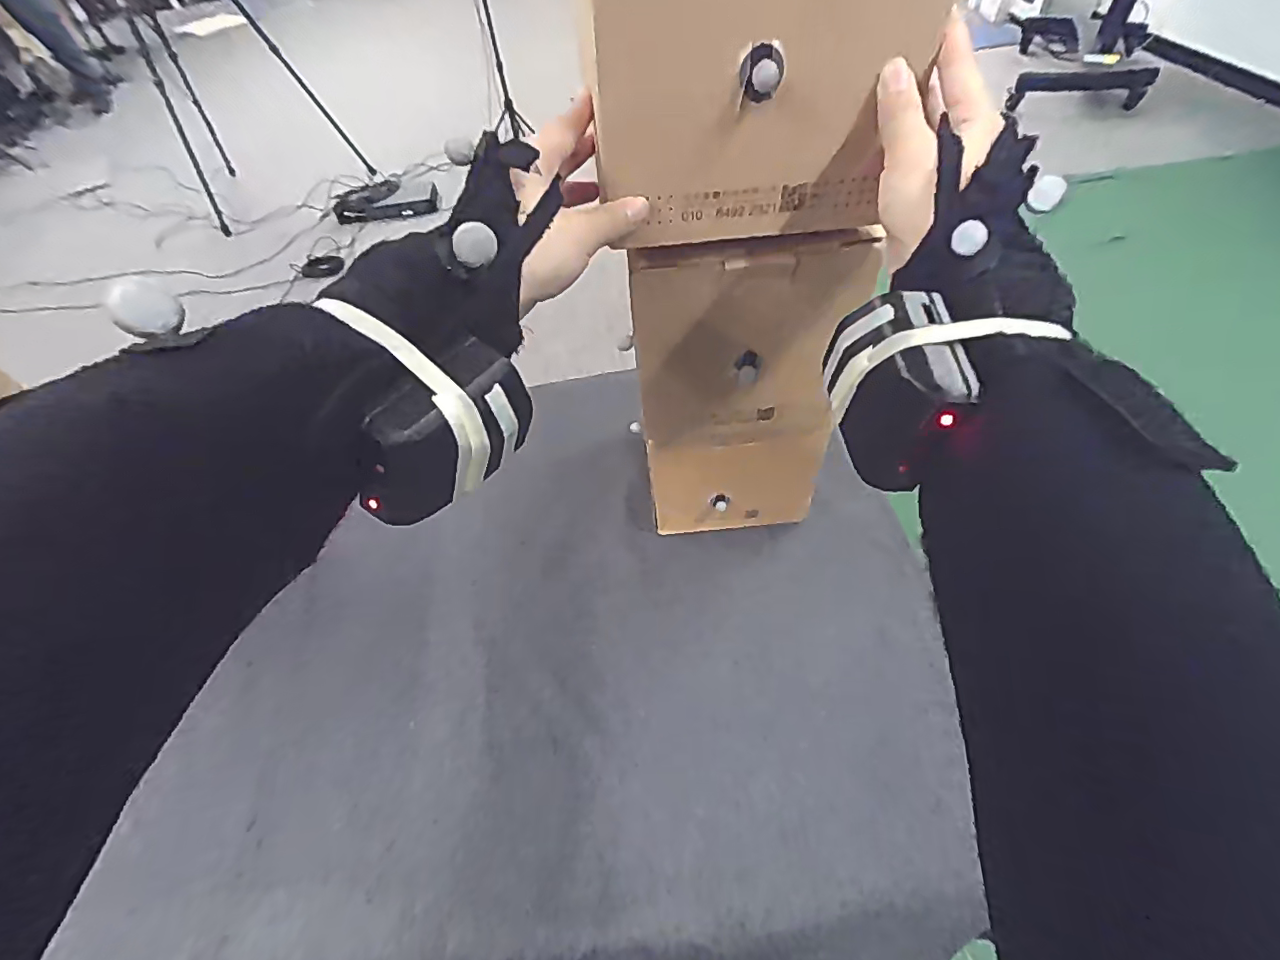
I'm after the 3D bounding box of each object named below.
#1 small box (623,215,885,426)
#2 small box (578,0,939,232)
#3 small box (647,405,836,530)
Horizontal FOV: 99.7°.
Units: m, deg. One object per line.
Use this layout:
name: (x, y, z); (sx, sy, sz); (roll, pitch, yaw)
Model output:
small box: (0.075, -0.159, 0.451); (0.168, 0.176, 0.179); (-5, 55, 1)
small box: (0.051, -0.256, 0.306); (0.168, 0.176, 0.179); (-7, 49, -4)
small box: (0.091, -0.067, 0.586); (0.168, 0.176, 0.179); (-6, 54, 1)
